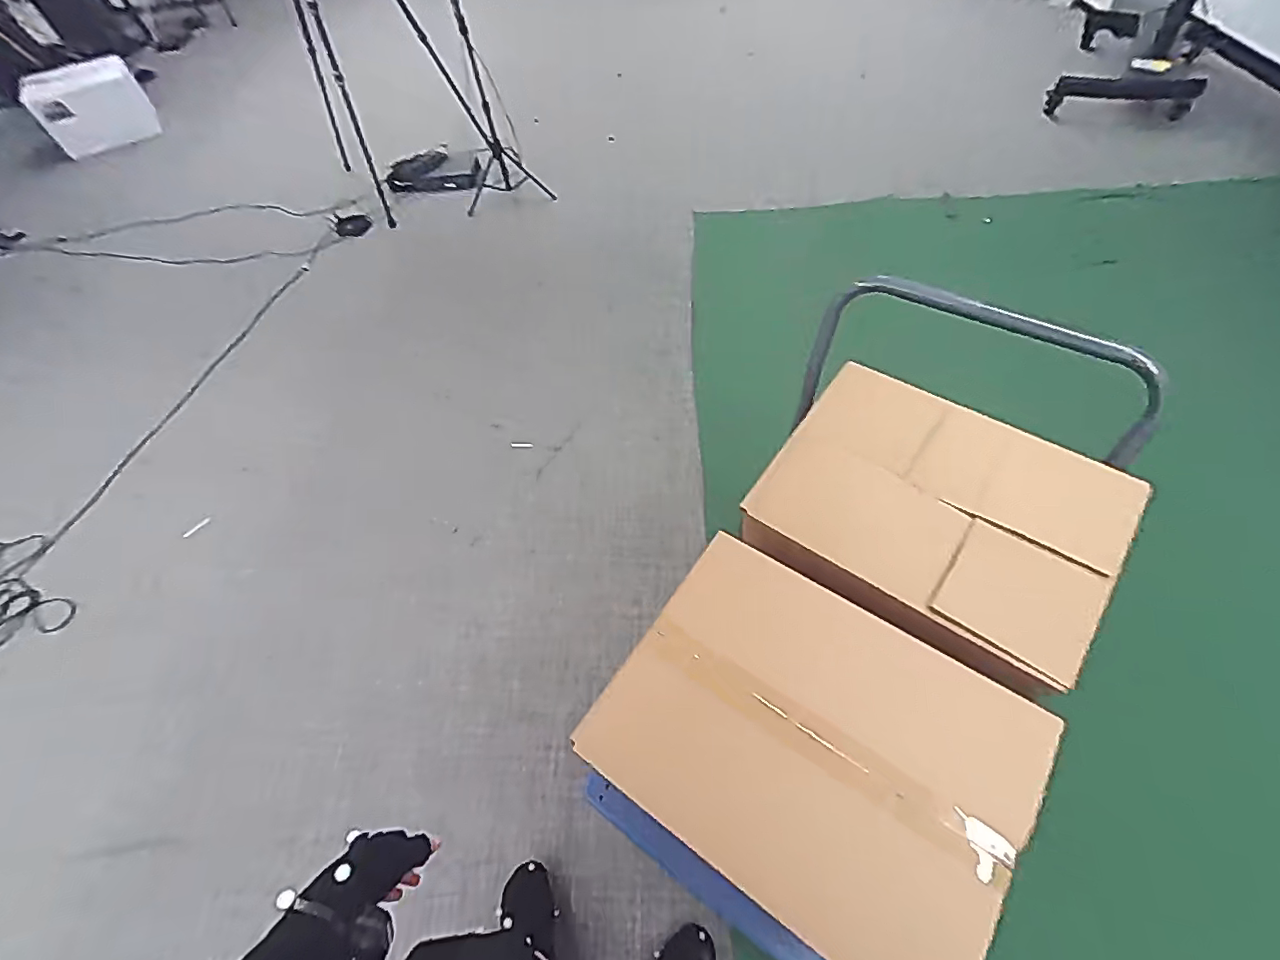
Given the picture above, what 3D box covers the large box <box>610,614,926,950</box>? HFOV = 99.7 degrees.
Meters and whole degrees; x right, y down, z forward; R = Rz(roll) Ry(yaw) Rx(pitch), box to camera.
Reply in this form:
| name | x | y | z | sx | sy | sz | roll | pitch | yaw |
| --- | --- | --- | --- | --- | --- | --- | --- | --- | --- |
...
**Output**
| name | x | y | z | sx | sy | sz | roll | pitch | yaw |
| --- | --- | --- | --- | --- | --- | --- | --- | --- | --- |
| large box | 0.213 | 0.516 | 0.966 | 0.408 | 0.320 | 0.320 | 28 | 61 | 24 |
